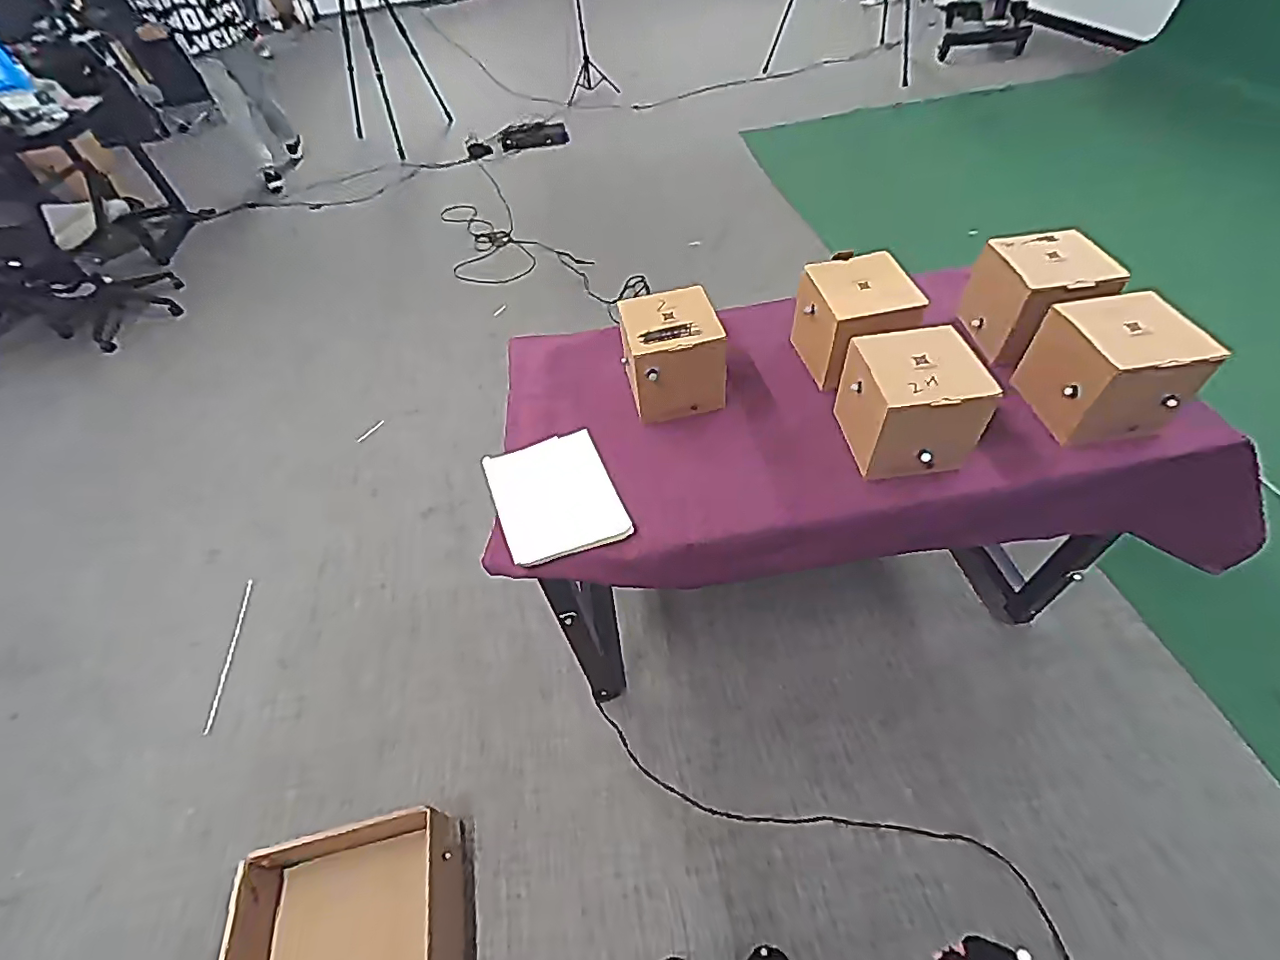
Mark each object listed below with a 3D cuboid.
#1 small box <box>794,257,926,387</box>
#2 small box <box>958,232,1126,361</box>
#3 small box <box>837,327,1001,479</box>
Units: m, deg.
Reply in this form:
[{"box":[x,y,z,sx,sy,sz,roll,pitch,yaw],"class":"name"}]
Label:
[{"box":[0.410,-0.296,1.040,0.168,0.176,0.179,-11,50,-2],"class":"small box"},{"box":[0.747,-0.341,1.030,0.168,0.176,0.179,-5,51,3],"class":"small box"},{"box":[0.441,-0.124,0.892,0.168,0.176,0.179,-7,50,2],"class":"small box"}]
